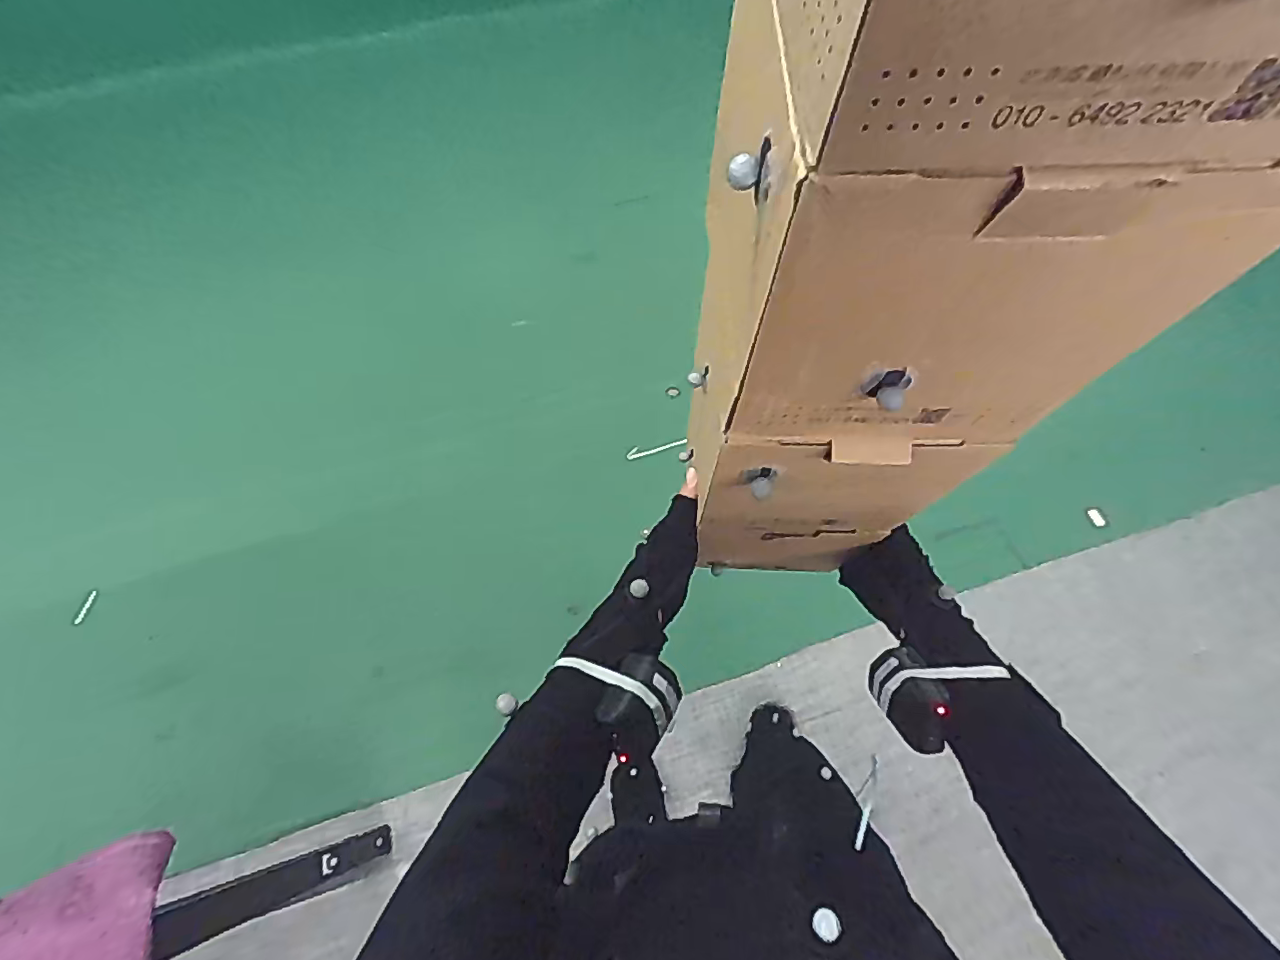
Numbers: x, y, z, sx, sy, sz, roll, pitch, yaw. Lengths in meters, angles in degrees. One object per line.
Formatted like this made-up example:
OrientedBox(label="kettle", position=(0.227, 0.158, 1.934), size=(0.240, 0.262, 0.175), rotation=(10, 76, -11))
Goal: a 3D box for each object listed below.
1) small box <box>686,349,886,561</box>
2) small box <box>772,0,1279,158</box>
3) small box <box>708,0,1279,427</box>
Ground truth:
OrientedBox(label="small box", position=(0.137, -0.016, 0.570), size=(0.168, 0.176, 0.179), rotation=(2, 68, 2))
OrientedBox(label="small box", position=(0.124, -0.205, 0.116), size=(0.168, 0.176, 0.179), rotation=(-2, 68, 0))
OrientedBox(label="small box", position=(0.127, -0.142, 0.268), size=(0.168, 0.176, 0.179), rotation=(-1, 68, 0))
